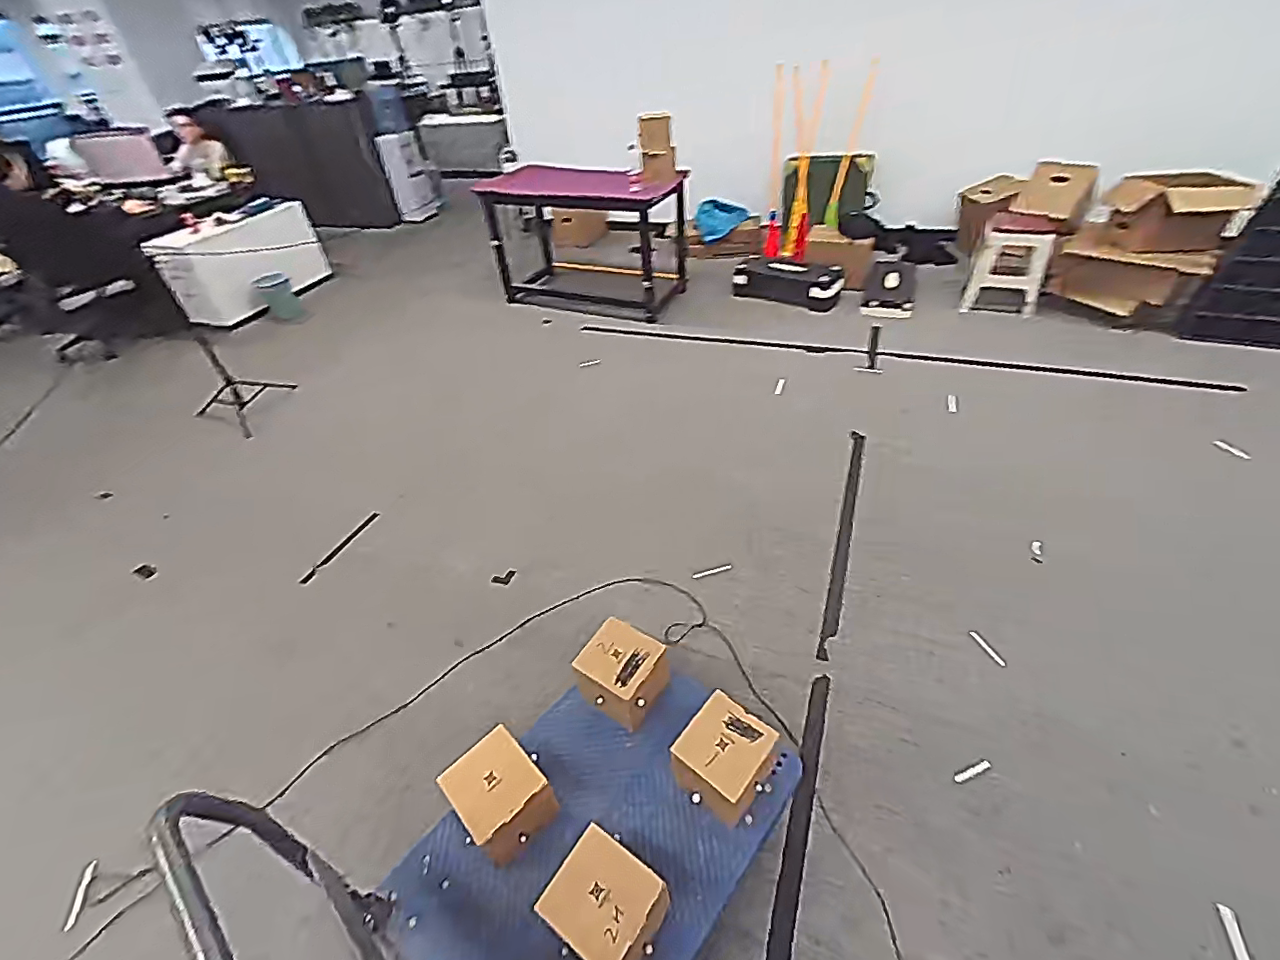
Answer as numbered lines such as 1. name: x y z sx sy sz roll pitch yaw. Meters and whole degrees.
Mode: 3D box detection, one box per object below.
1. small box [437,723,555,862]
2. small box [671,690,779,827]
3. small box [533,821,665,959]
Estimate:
1. small box: -0.305 0.676 1.169 0.168 0.176 0.179 -34 50 -30
2. small box: 0.183 0.611 1.188 0.168 0.176 0.179 28 52 33
3. small box: -0.069 0.792 1.008 0.179 0.176 0.168 23 49 29
